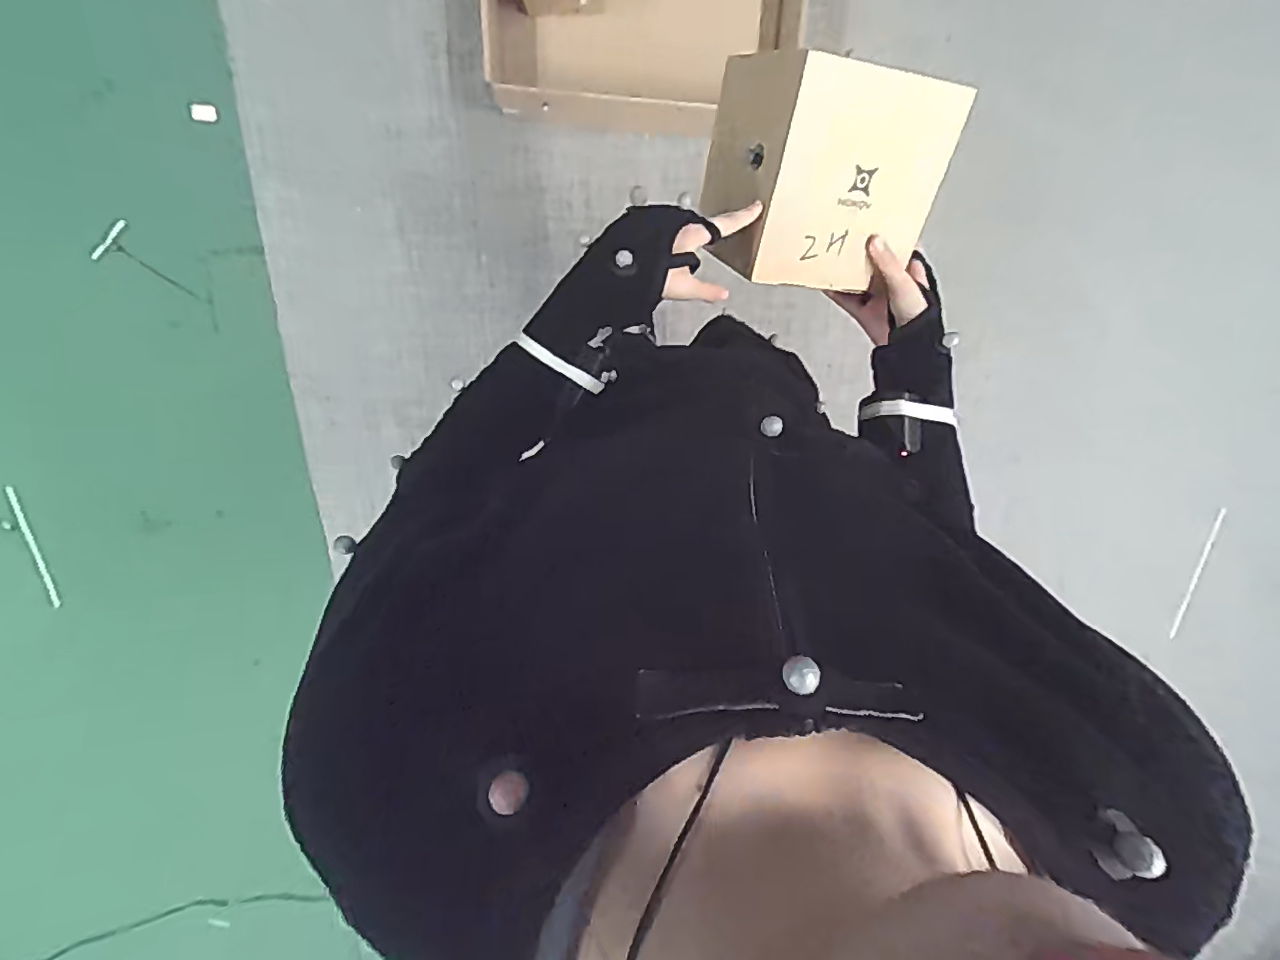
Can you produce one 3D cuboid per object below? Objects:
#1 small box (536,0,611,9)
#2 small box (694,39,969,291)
[{"bbox_3d":[-0.136,-1.019,1.008,0.168,0.176,0.179,-1,111,-3],"label":"small box"},{"bbox_3d":[0.165,-0.305,0.534,0.168,0.176,0.179,-1,126,-16],"label":"small box"}]
